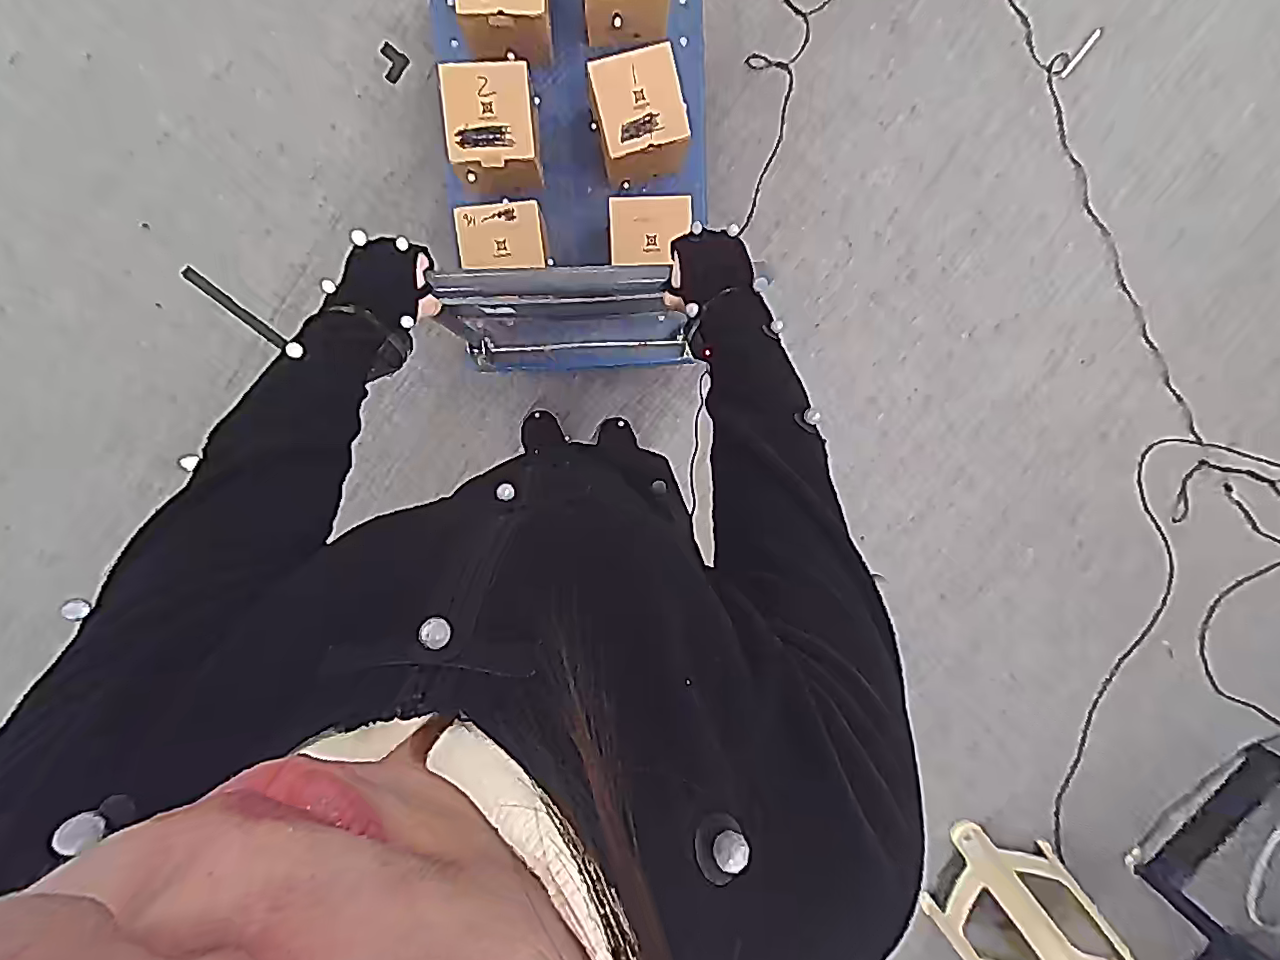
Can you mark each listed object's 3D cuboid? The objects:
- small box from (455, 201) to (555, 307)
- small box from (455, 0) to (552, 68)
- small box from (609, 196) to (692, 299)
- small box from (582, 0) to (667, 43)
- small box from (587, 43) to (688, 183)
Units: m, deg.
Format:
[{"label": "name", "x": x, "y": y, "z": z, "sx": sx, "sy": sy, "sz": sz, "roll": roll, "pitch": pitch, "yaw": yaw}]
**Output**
[{"label": "small box", "x": -0.277, "y": -0.468, "z": 1.148, "sx": 0.168, "sy": 0.176, "sz": 0.179, "roll": -7, "pitch": 100, "yaw": -3}, {"label": "small box", "x": -0.265, "y": -0.960, "z": 1.067, "sx": 0.168, "sy": 0.176, "sz": 0.179, "roll": -1, "pitch": 100, "yaw": -3}, {"label": "small box", "x": 0.020, "y": -0.490, "z": 1.163, "sx": 0.168, "sy": 0.176, "sz": 0.179, "roll": -3, "pitch": 99, "yaw": -3}, {"label": "small box", "x": -0.035, "y": -1.010, "z": 1.075, "sx": 0.168, "sy": 0.176, "sz": 0.179, "roll": -6, "pitch": 99, "yaw": -2}, {"label": "small box", "x": -0.006, "y": -0.743, "z": 1.119, "sx": 0.168, "sy": 0.176, "sz": 0.179, "roll": -15, "pitch": 99, "yaw": -1}]
